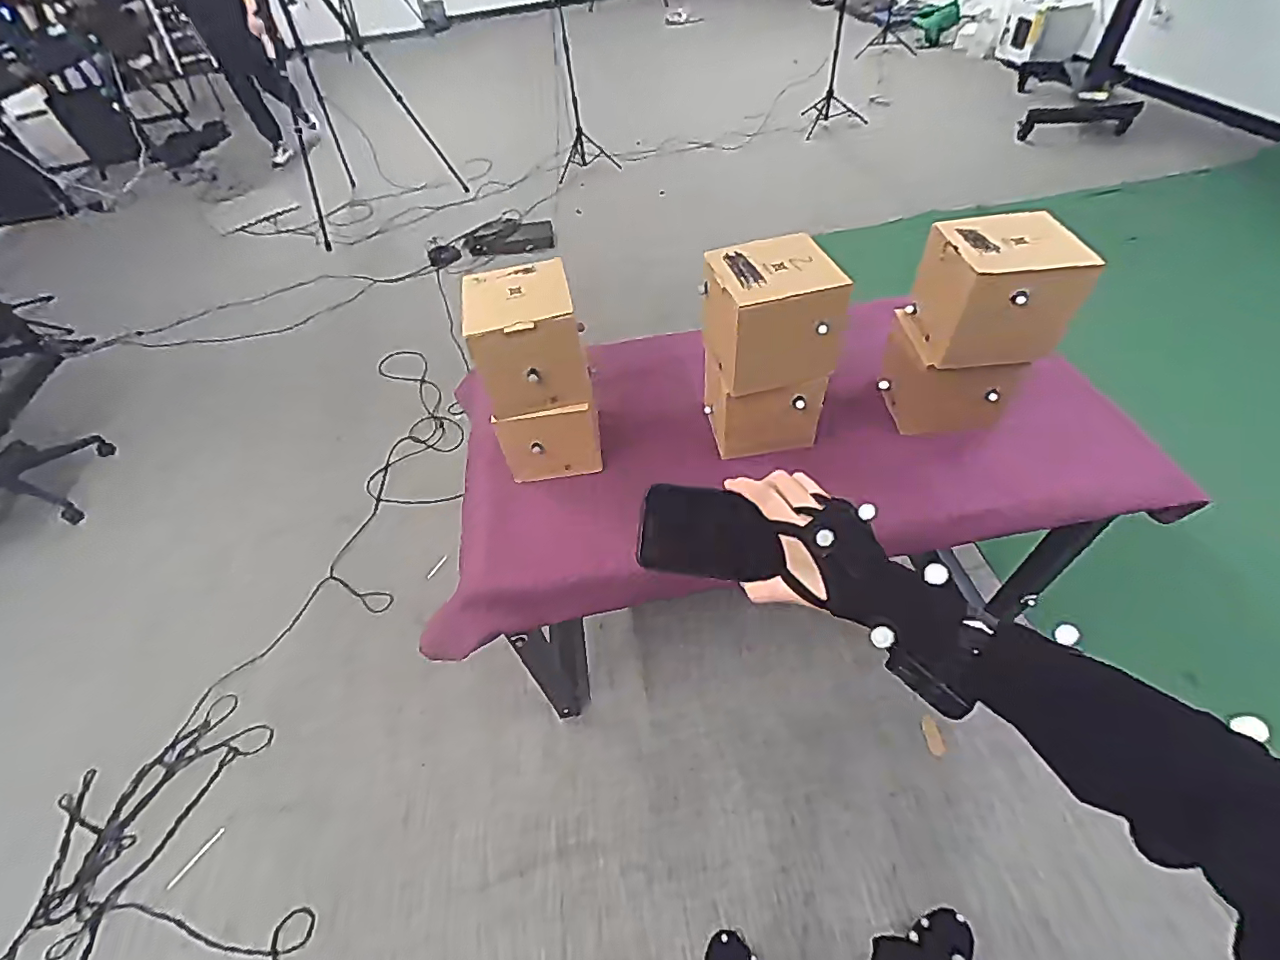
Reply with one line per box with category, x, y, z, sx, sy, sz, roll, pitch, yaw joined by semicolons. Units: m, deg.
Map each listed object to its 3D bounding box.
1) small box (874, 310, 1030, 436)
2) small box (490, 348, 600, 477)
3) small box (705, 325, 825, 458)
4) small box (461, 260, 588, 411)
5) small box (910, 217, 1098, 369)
small box;0.557;-0.198;0.994;0.179;0.176;0.168;-4;50;4
small box;-0.170;-0.119;1.013;0.168;0.176;0.179;-8;50;0
small box;0.219;-0.160;1.000;0.179;0.176;0.168;-8;50;0
small box;-0.185;-0.230;0.893;0.168;0.176;0.179;-11;51;-4
small box;0.553;-0.291;0.859;0.179;0.176;0.168;-4;50;3
